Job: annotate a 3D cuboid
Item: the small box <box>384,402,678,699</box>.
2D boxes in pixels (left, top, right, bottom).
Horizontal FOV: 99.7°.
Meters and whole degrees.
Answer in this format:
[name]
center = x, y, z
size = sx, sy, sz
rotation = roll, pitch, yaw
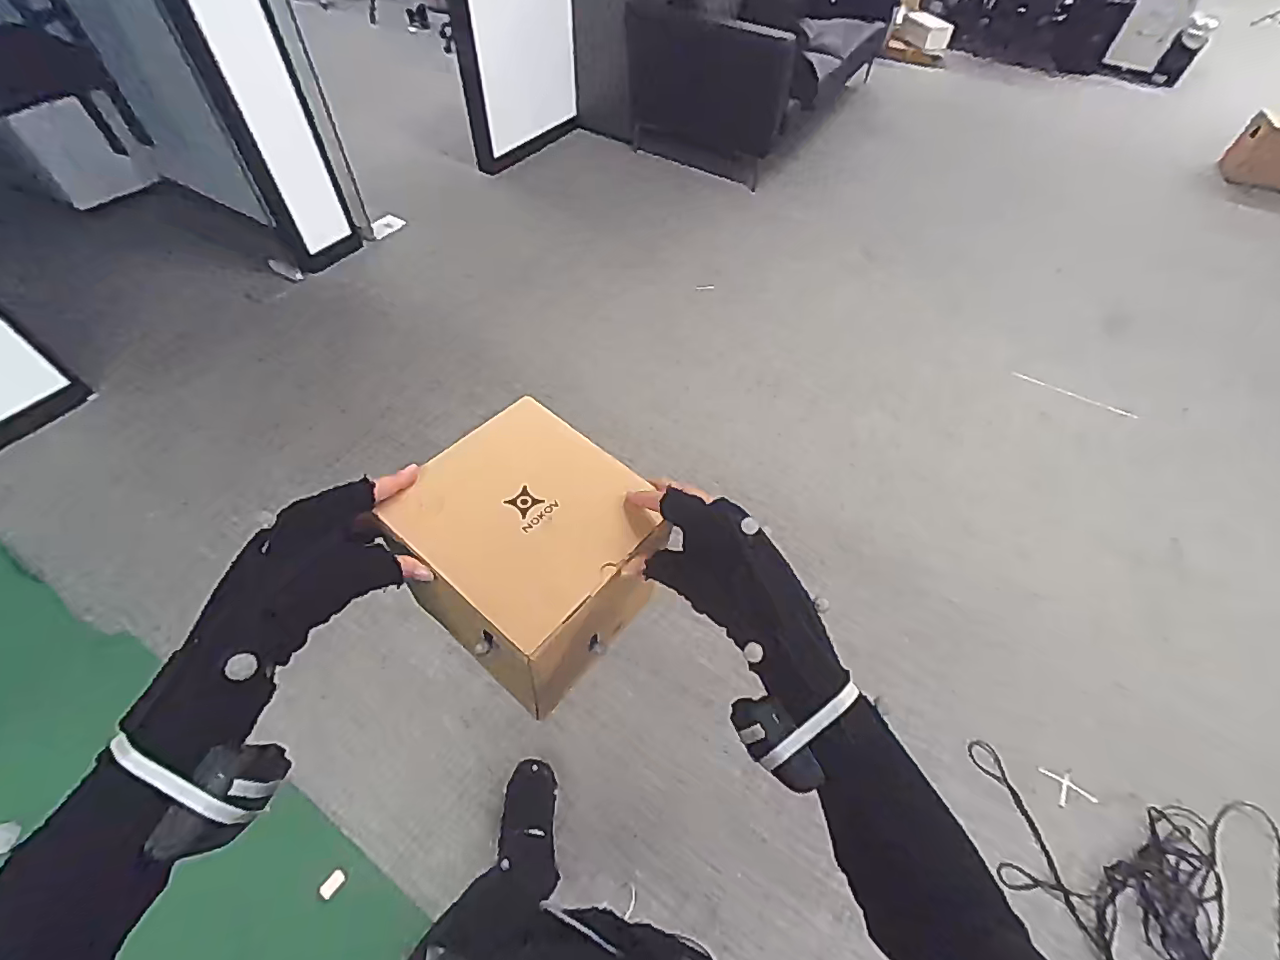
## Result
[small box]
center = -0.094, 0.069, 0.495
size = 0.179, 0.176, 0.168
rotation = 37, 57, 17
